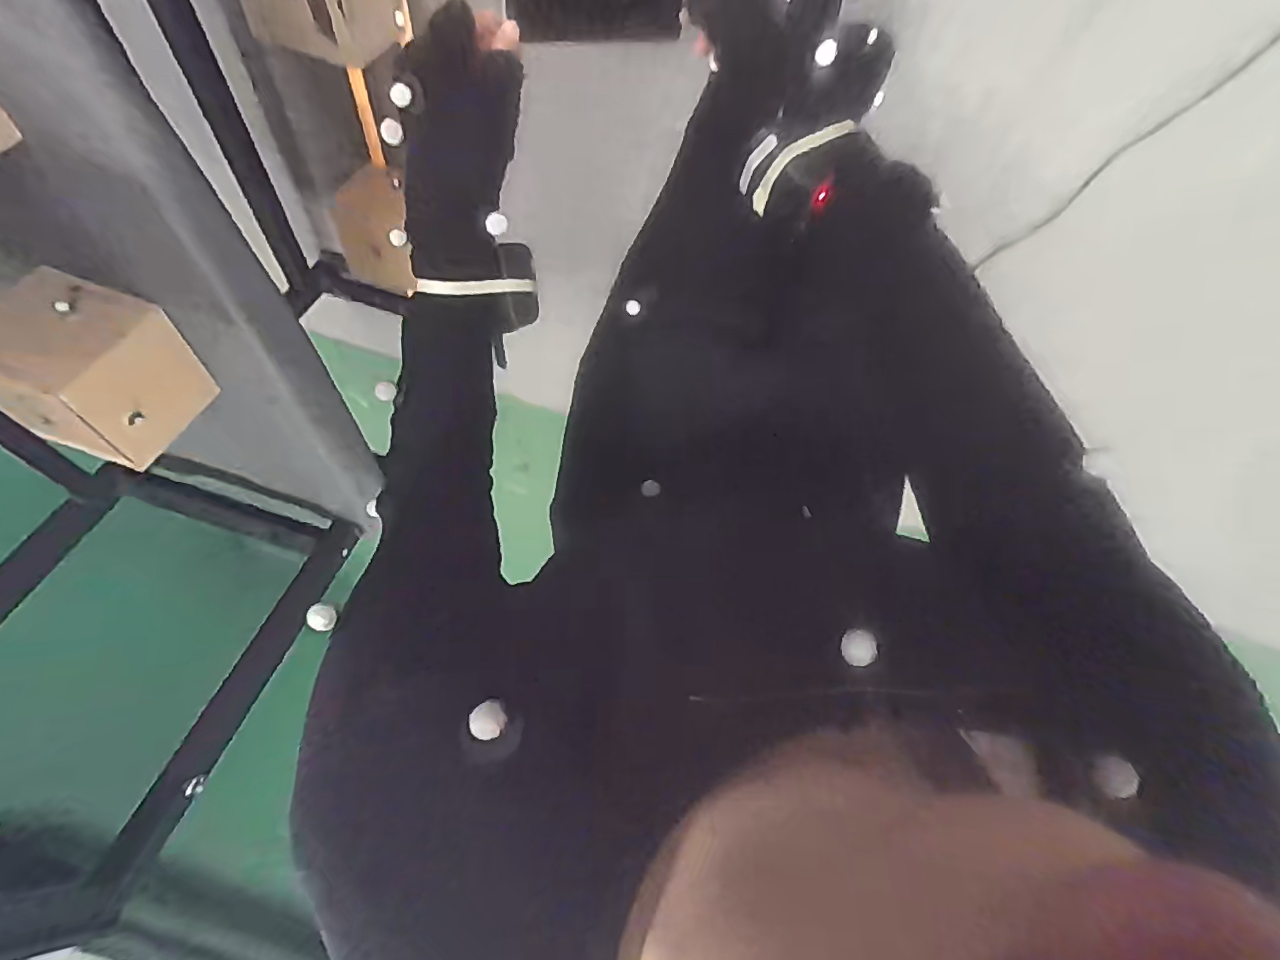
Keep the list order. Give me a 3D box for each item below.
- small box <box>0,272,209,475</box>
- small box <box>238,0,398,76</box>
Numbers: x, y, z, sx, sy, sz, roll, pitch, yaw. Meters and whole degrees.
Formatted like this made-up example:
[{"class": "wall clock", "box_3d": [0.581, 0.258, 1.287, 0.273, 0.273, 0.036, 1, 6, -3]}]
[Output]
[{"class": "small box", "box_3d": [-0.748, -0.141, 0.734, 0.168, 0.176, 0.179, 19, 147, -1]}, {"class": "small box", "box_3d": [-0.496, -0.774, 0.833, 0.179, 0.176, 0.168, 19, 147, -1]}]
